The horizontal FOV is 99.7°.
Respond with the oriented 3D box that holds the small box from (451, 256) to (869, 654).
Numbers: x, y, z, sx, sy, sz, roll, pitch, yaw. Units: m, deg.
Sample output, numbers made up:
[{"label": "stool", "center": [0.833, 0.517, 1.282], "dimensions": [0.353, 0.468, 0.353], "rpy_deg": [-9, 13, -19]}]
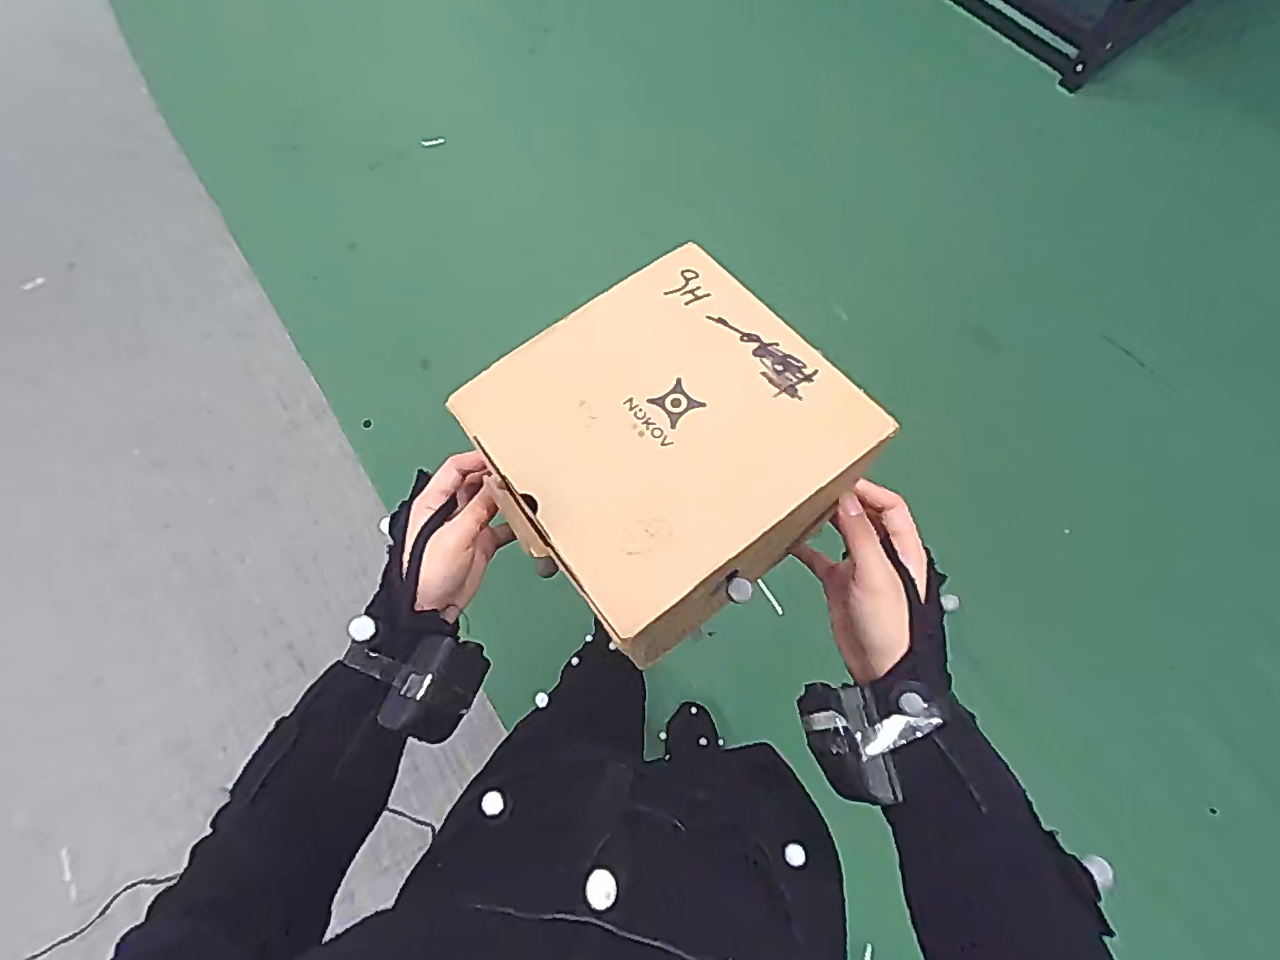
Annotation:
[{"label": "small box", "center": [0.013, -0.002, 0.367], "dimensions": [0.179, 0.176, 0.168], "rpy_deg": [-36, 69, -10]}]
